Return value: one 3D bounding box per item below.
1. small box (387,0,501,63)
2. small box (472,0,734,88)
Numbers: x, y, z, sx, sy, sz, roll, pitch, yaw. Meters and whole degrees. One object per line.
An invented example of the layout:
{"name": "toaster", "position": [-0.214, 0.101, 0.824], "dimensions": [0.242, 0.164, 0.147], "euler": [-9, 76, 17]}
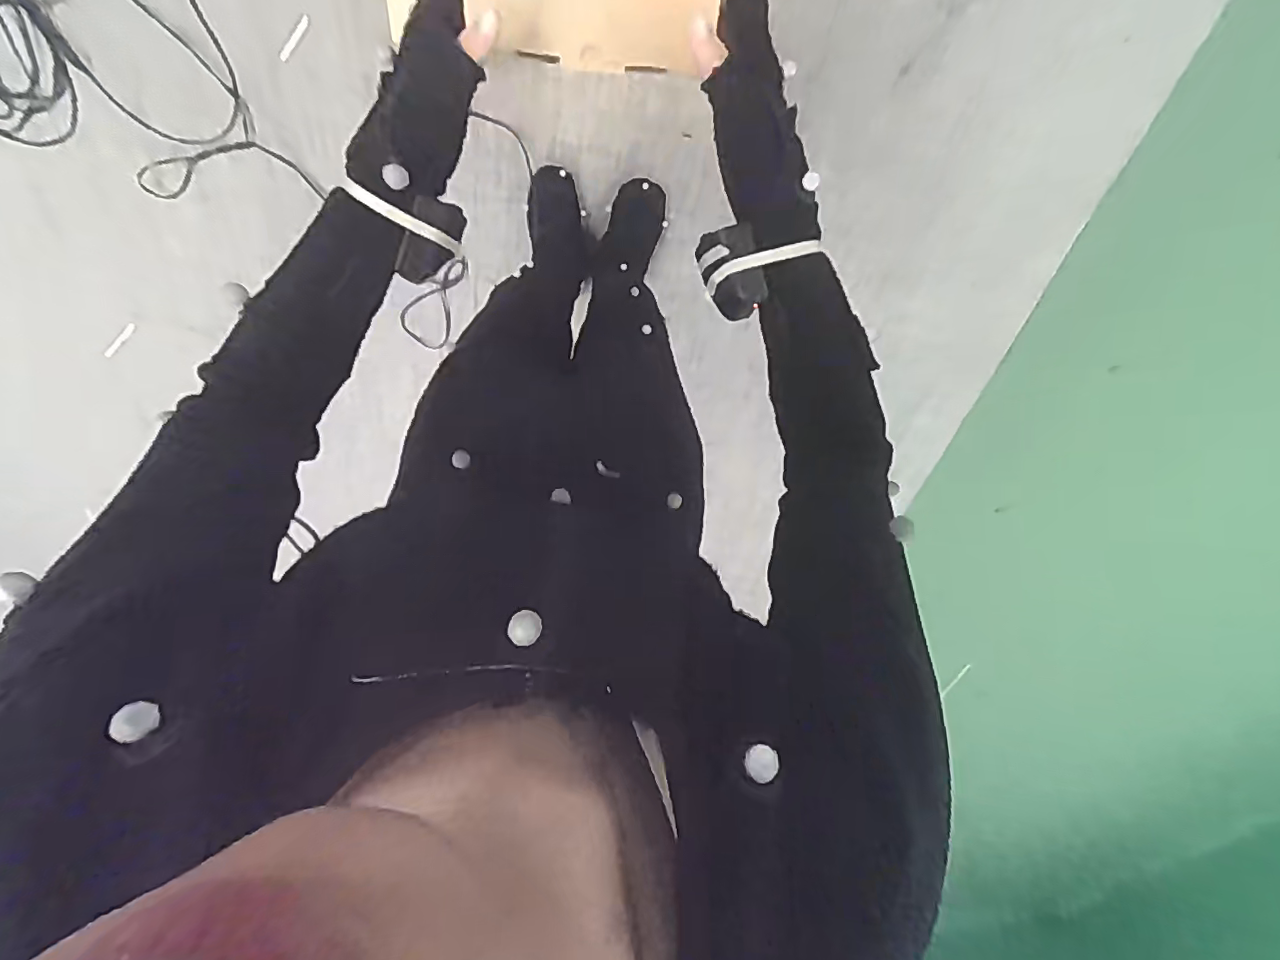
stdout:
{"name": "small box", "position": [-0.310, -0.815, 0.899], "dimensions": [0.168, 0.176, 0.179], "euler": [6, 126, -5]}
{"name": "small box", "position": [-0.023, -0.389, 0.362], "dimensions": [0.168, 0.176, 0.179], "euler": [2, 133, -6]}
